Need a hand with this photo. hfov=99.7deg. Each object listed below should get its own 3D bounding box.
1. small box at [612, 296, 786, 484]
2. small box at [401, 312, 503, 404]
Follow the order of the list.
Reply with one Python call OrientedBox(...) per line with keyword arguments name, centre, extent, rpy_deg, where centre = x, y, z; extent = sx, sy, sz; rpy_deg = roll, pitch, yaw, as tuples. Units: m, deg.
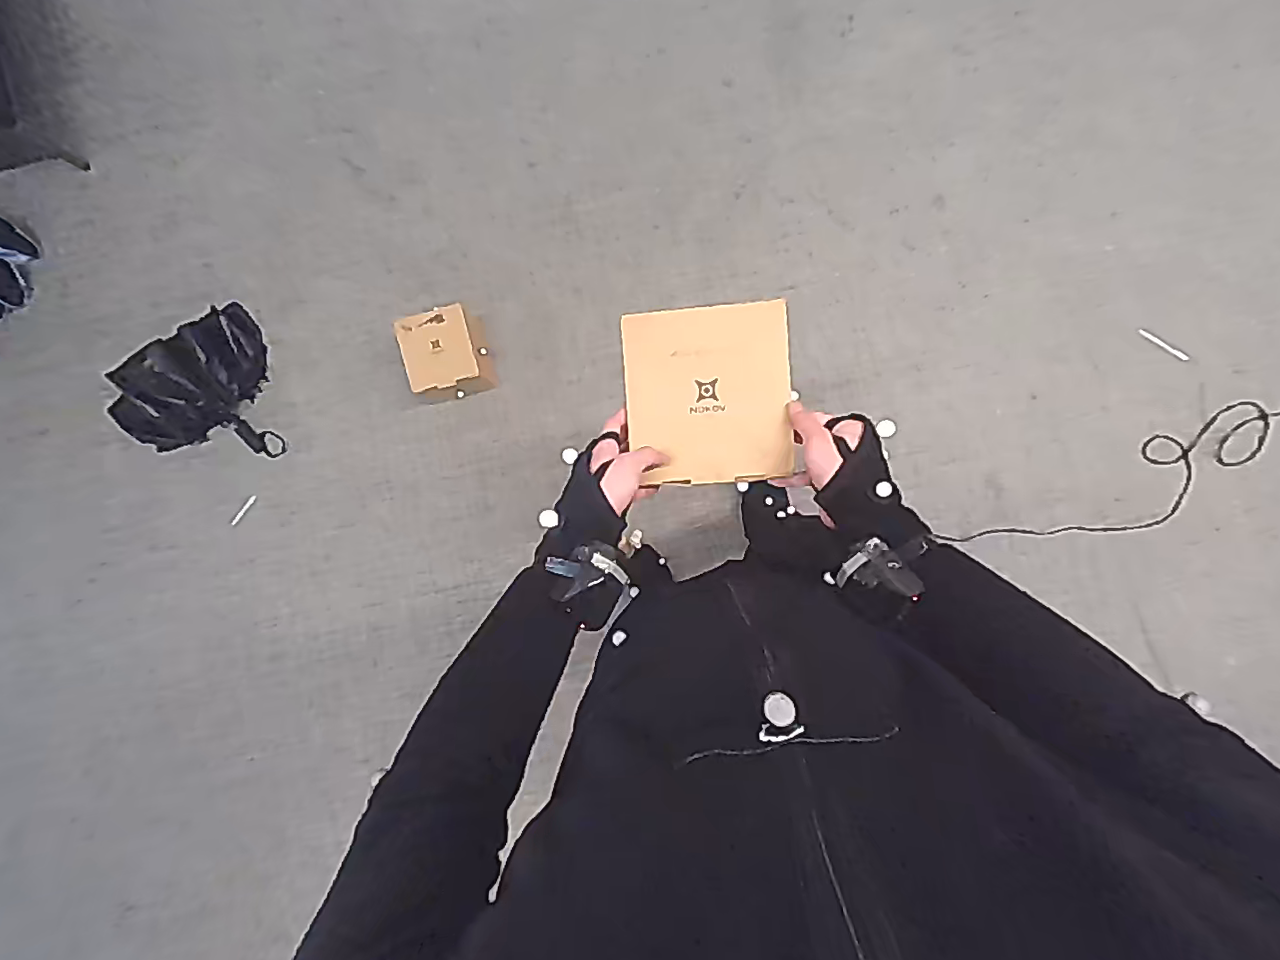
OrientedBox(name="small box", centre=(0.068, -0.090, 0.619), extent=(0.168, 0.176, 0.179), rpy_deg=(-5, 90, 6))
OrientedBox(name="small box", centre=(-0.459, -0.293, 1.349), extent=(0.168, 0.176, 0.179), rpy_deg=(-15, 90, 2))
